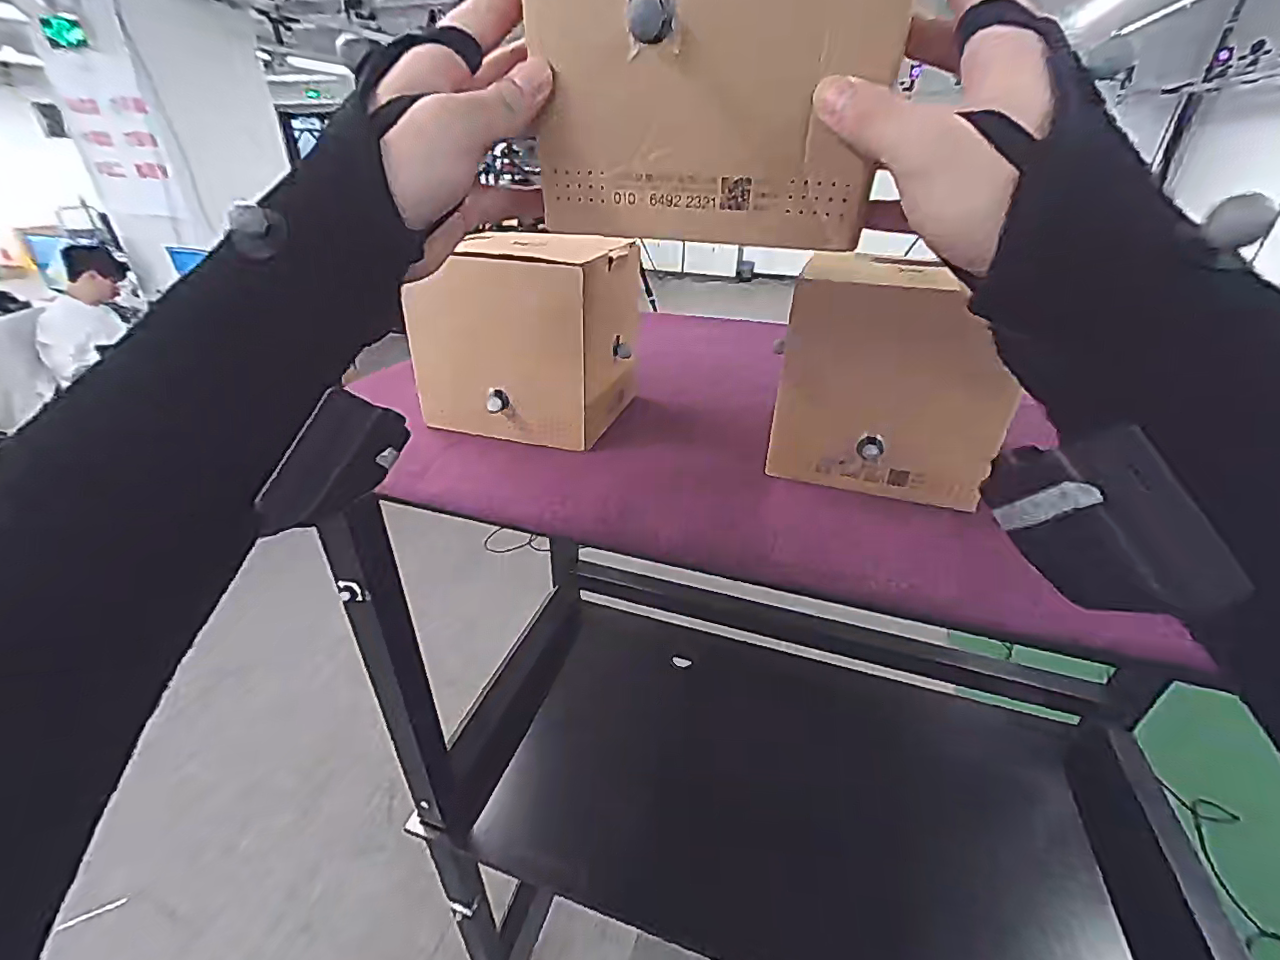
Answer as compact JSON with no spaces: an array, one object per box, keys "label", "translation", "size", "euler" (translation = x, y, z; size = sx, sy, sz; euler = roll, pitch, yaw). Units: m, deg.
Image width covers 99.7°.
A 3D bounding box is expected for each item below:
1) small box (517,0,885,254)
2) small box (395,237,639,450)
[{"label":"small box","translation":[0.044,-0.237,0.306],"size":[0.168,0.176,0.179],"euler":[9,38,13]},{"label":"small box","translation":[-0.109,-0.143,0.550],"size":[0.179,0.176,0.168],"euler":[10,30,13]}]
